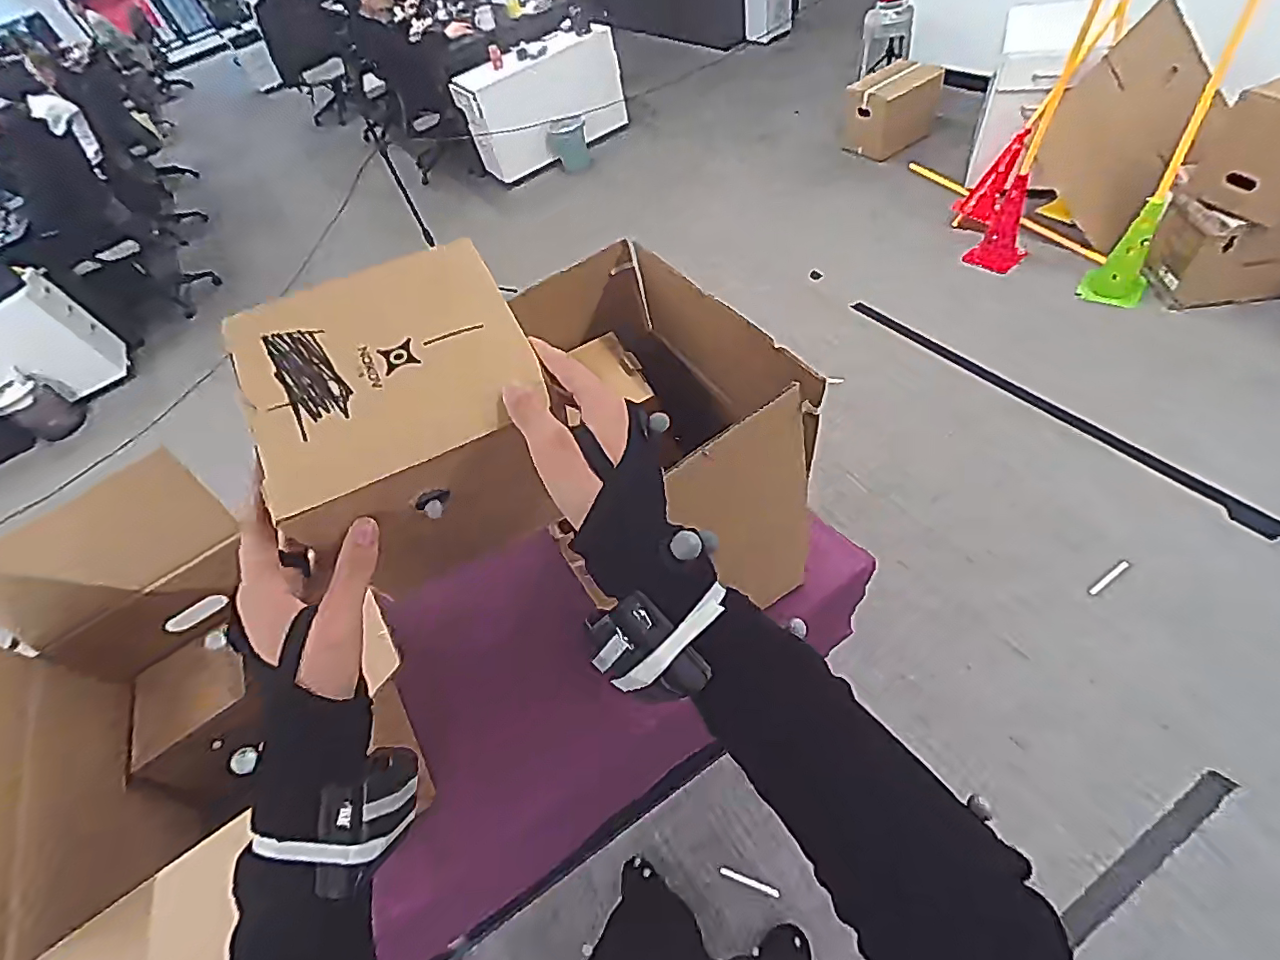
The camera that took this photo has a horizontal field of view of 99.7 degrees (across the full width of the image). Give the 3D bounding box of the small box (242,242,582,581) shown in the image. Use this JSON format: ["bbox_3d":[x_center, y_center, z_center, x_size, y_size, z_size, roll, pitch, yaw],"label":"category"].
[{"bbox_3d":[-0.159,-0.043,0.425,0.179,0.176,0.168,-25,67,-13],"label":"small box"}]
